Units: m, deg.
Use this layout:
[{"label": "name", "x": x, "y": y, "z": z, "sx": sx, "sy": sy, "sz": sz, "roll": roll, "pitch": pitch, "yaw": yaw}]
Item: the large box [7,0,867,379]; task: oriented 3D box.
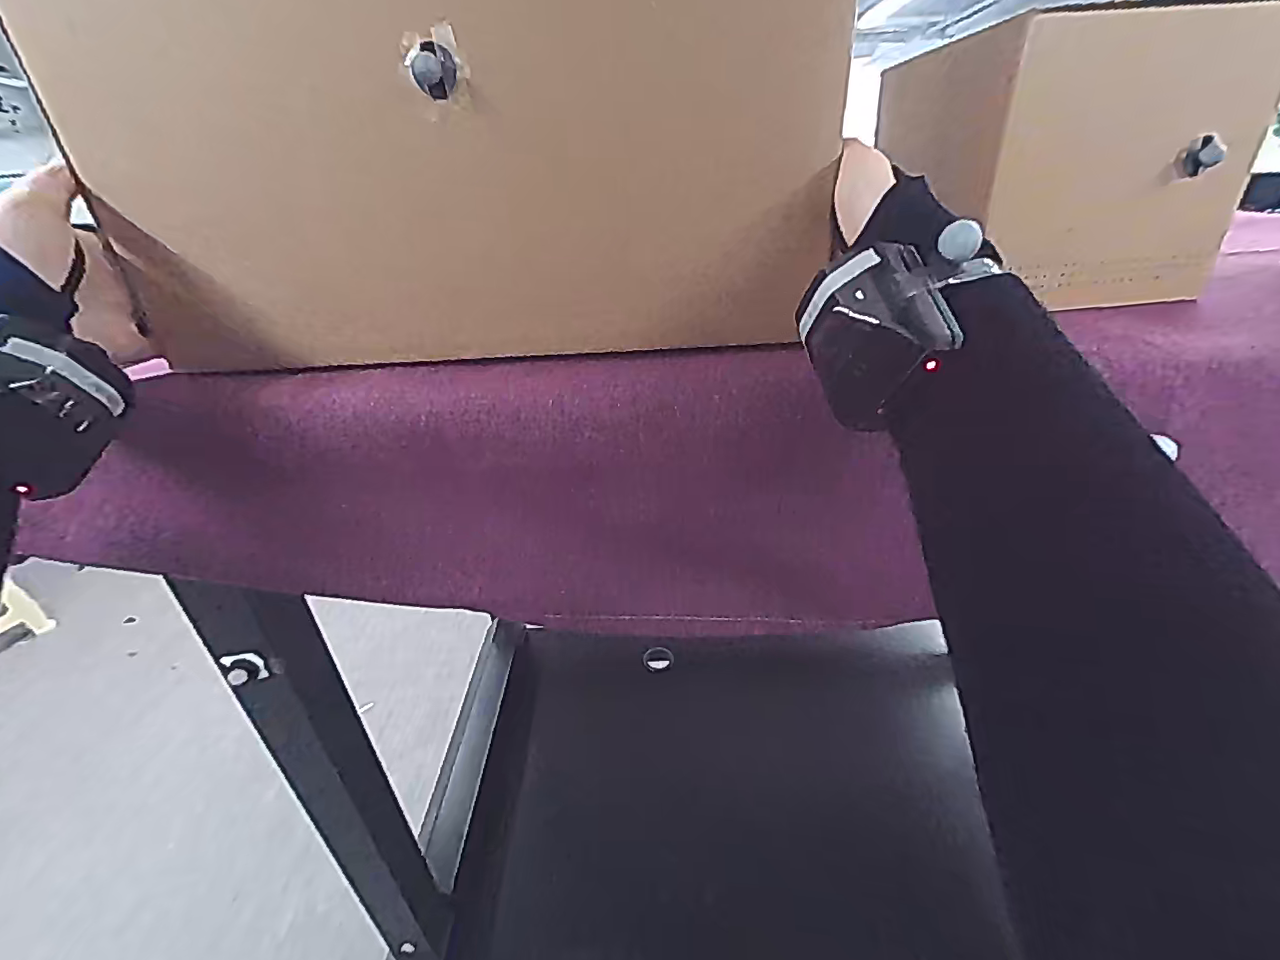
[{"label": "large box", "x": -0.092, "y": -0.277, "z": 0.389, "sx": 0.408, "sy": 0.320, "sz": 0.320, "roll": -4, "pitch": 27, "yaw": 2}]

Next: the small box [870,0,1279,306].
[{"label": "small box", "x": 0.296, "y": -0.234, "z": 0.401, "sx": 0.179, "sy": 0.176, "sz": 0.168, "roll": -6, "pitch": 27, "yaw": -3}]
